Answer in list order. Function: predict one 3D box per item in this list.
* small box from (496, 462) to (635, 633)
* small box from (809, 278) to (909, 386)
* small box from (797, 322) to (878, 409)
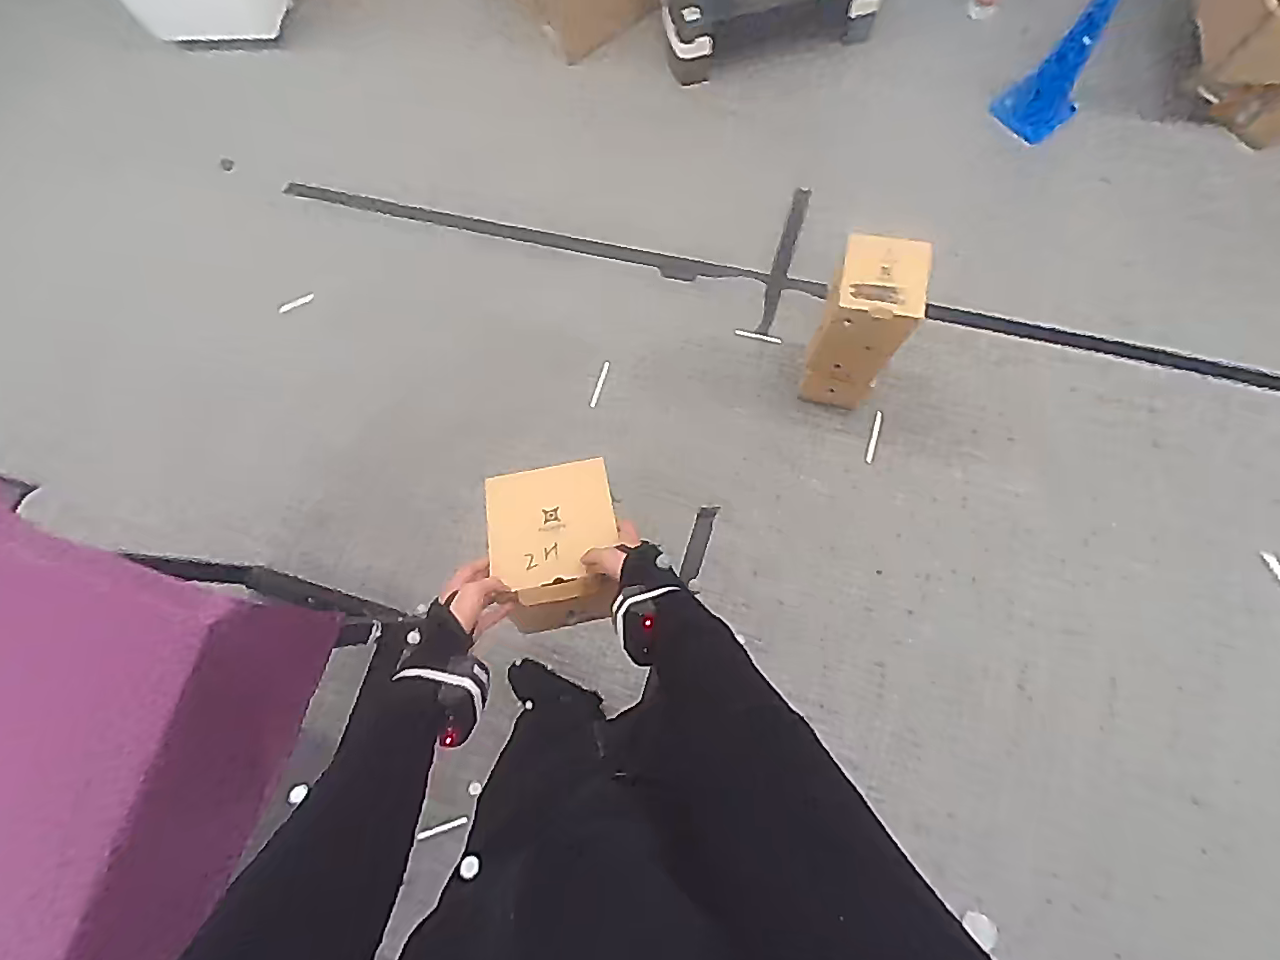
[{"bbox_3d":[-0.102,0.100,0.771,0.168,0.176,0.179,-10,59,-3],"label":"small box"},{"bbox_3d":[0.528,-0.356,1.326,0.168,0.176,0.179,18,80,9],"label":"small box"},{"bbox_3d":[0.545,-0.307,1.481,0.179,0.176,0.168,13,79,9],"label":"small box"}]
